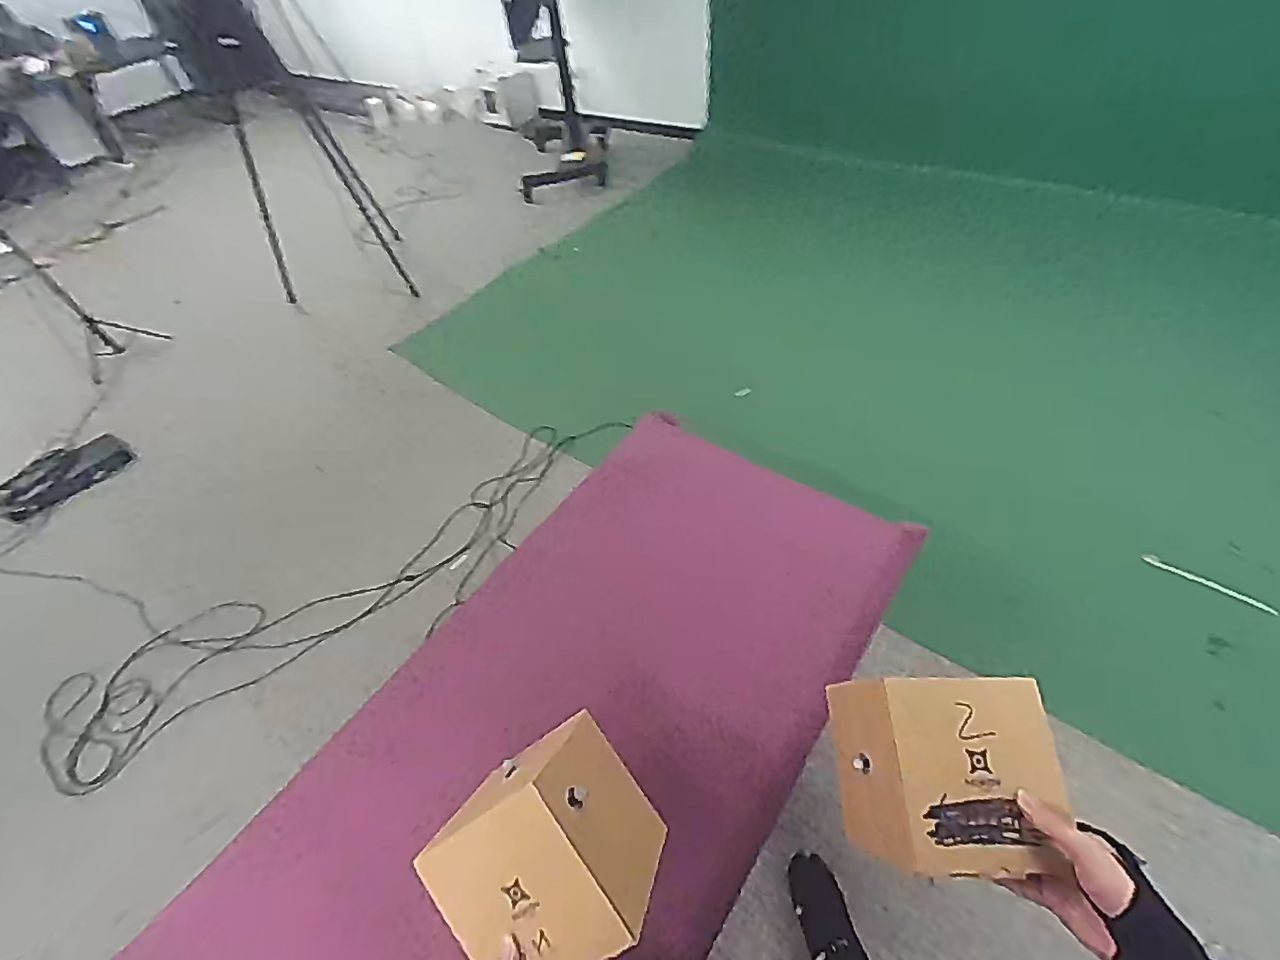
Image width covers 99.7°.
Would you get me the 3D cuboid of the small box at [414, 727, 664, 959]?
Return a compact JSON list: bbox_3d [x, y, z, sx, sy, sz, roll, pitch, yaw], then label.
[{"bbox_3d":[-0.096,0.400,0.589,0.168,0.176,0.179,-37,83,11],"label":"small box"}]
